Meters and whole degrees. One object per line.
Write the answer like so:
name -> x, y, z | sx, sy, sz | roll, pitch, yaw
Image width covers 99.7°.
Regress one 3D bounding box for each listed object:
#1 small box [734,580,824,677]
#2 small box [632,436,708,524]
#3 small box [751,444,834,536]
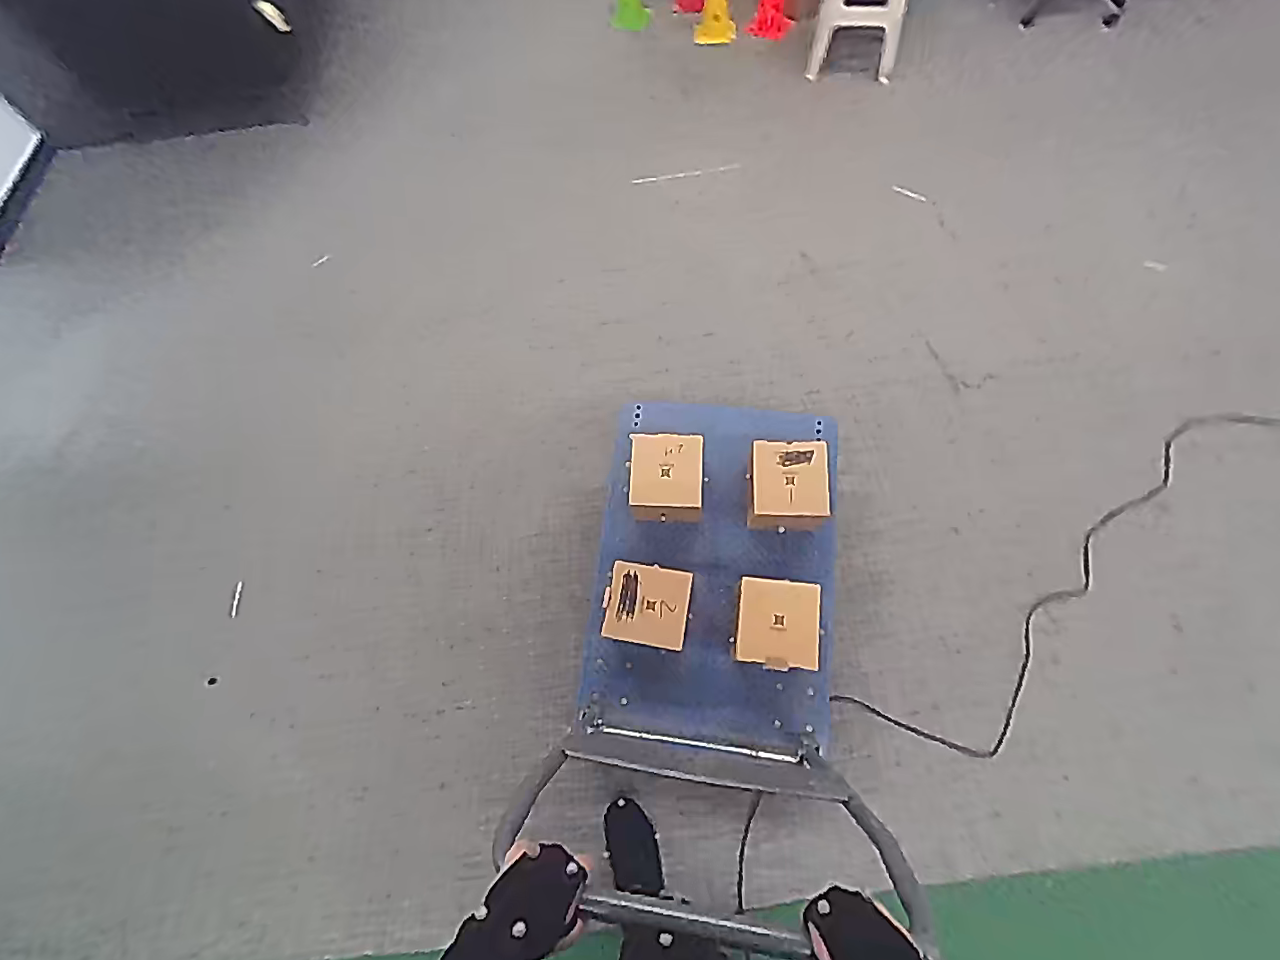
small box -> 0.301, 0.327, 1.195 | 0.168, 0.176, 0.179 | 6, 75, 7
small box -> 0.077, 0.005, 1.311 | 0.168, 0.176, 0.179 | 3, 74, 5
small box -> 0.354, 0.027, 1.280 | 0.168, 0.176, 0.179 | 2, 74, 6
